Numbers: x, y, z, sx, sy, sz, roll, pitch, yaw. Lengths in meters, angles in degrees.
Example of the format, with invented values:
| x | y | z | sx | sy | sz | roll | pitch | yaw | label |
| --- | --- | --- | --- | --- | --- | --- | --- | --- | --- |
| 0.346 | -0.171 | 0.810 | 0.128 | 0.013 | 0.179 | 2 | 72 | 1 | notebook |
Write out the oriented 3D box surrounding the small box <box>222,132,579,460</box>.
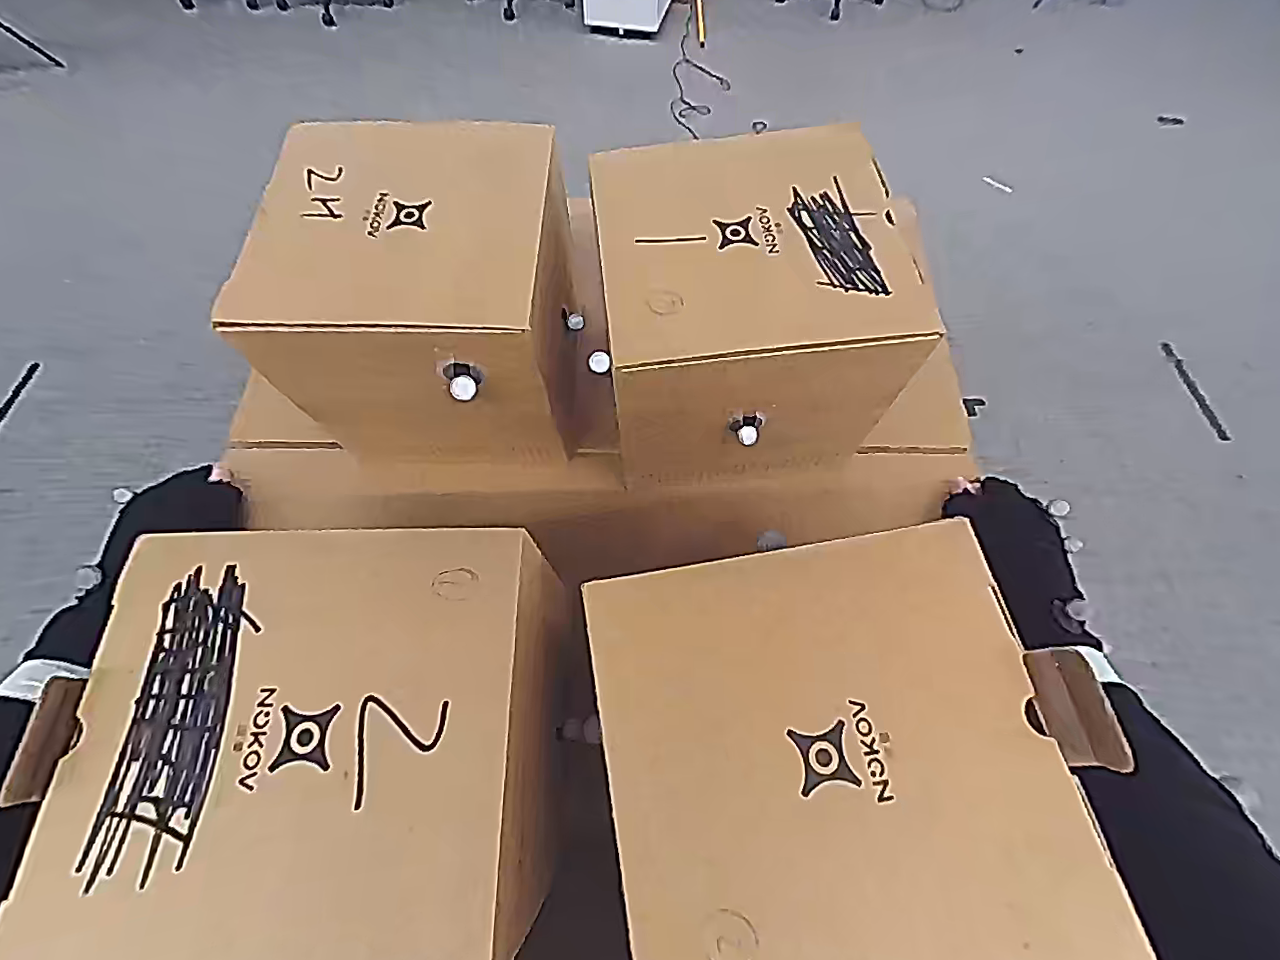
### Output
| x | y | z | sx | sy | sz | roll | pitch | yaw | label |
| --- | --- | --- | --- | --- | --- | --- | --- | --- | --- |
| -0.144 | -0.123 | 0.405 | 0.179 | 0.176 | 0.168 | 2 | 66 | 2 | small box |

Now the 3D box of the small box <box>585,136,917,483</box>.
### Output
| x | y | z | sx | sy | sz | roll | pitch | yaw | label |
| --- | --- | --- | --- | --- | --- | --- | --- | --- | --- |
| 0.060 | -0.109 | 0.394 | 0.179 | 0.176 | 0.168 | -6 | 67 | 0 | small box |
